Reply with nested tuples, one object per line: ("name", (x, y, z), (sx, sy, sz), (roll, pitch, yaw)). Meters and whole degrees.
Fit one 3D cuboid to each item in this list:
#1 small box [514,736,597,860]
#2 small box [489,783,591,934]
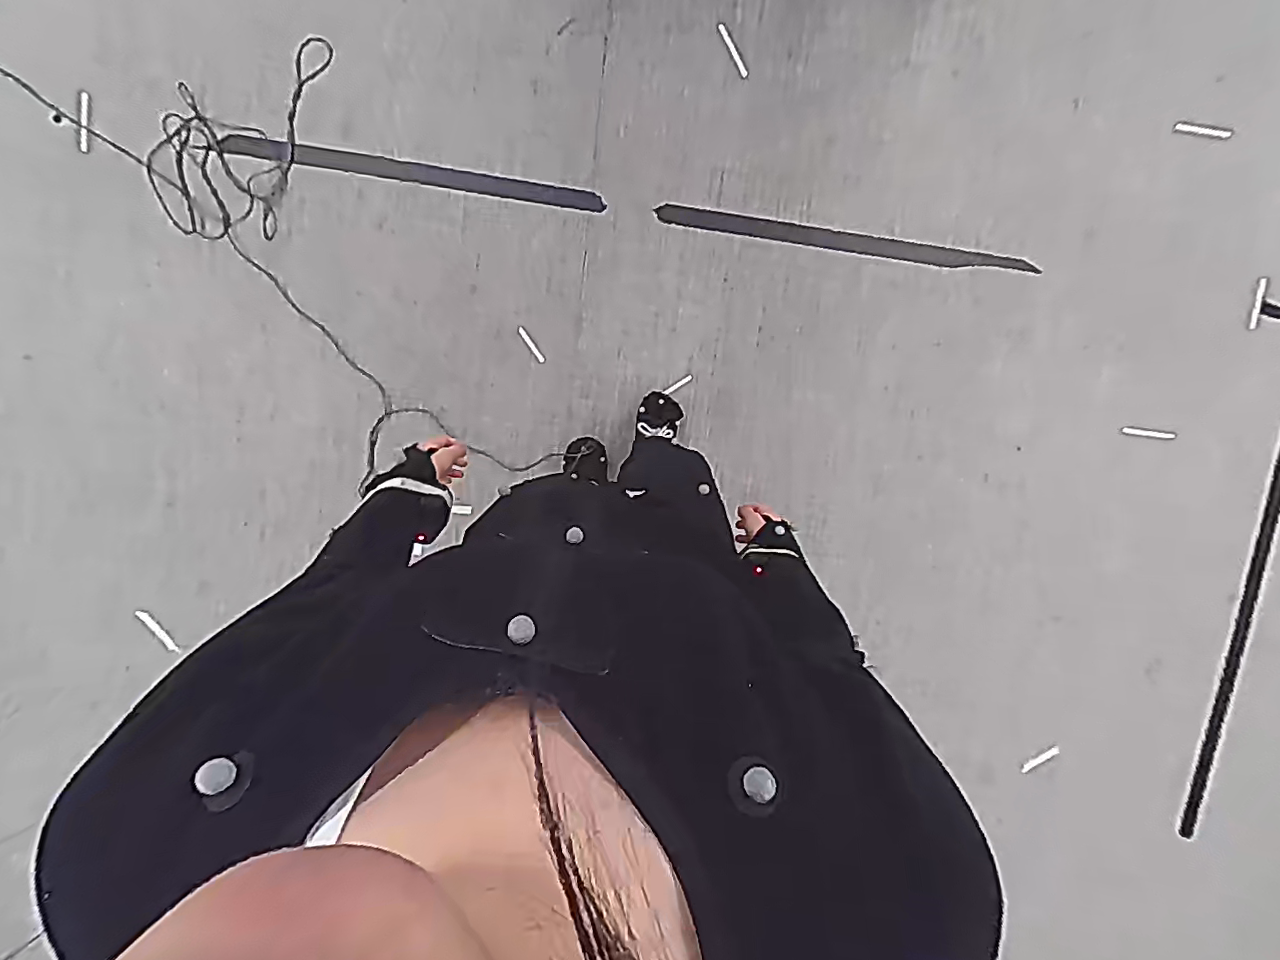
("small box", (-0.184, 0.696, 1.189), (0.168, 0.176, 0.179), (4, 96, -3))
("small box", (-0.183, 0.708, 1.027), (0.168, 0.176, 0.179), (3, 97, -1))
